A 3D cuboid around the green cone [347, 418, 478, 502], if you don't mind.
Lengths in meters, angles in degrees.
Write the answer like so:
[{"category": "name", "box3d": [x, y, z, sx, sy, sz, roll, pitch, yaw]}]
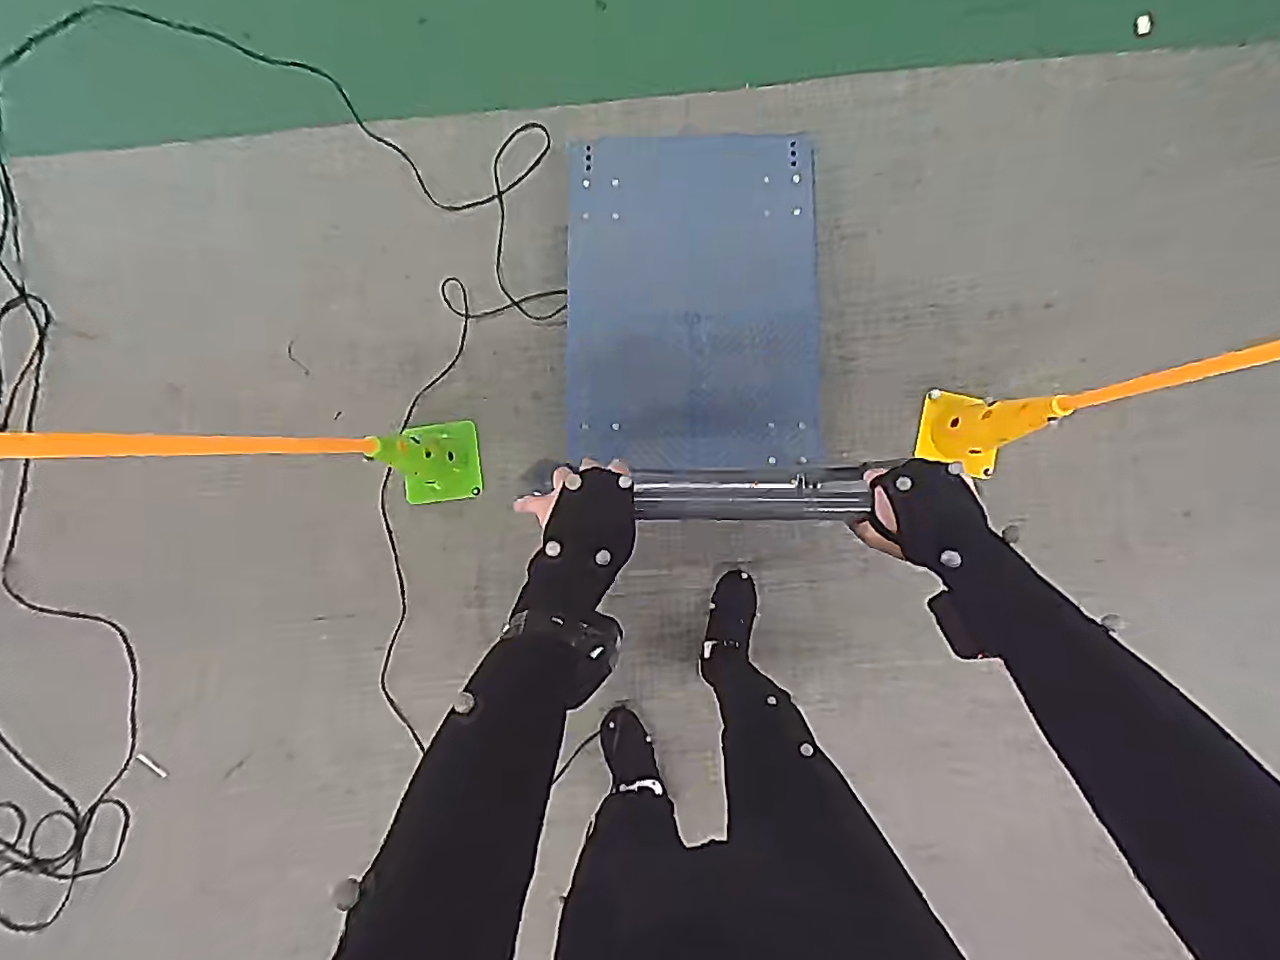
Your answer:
[{"category": "green cone", "box3d": [-0.530, -0.064, 1.217, 0.202, 0.368, 0.200, -8, 86, 3]}]
